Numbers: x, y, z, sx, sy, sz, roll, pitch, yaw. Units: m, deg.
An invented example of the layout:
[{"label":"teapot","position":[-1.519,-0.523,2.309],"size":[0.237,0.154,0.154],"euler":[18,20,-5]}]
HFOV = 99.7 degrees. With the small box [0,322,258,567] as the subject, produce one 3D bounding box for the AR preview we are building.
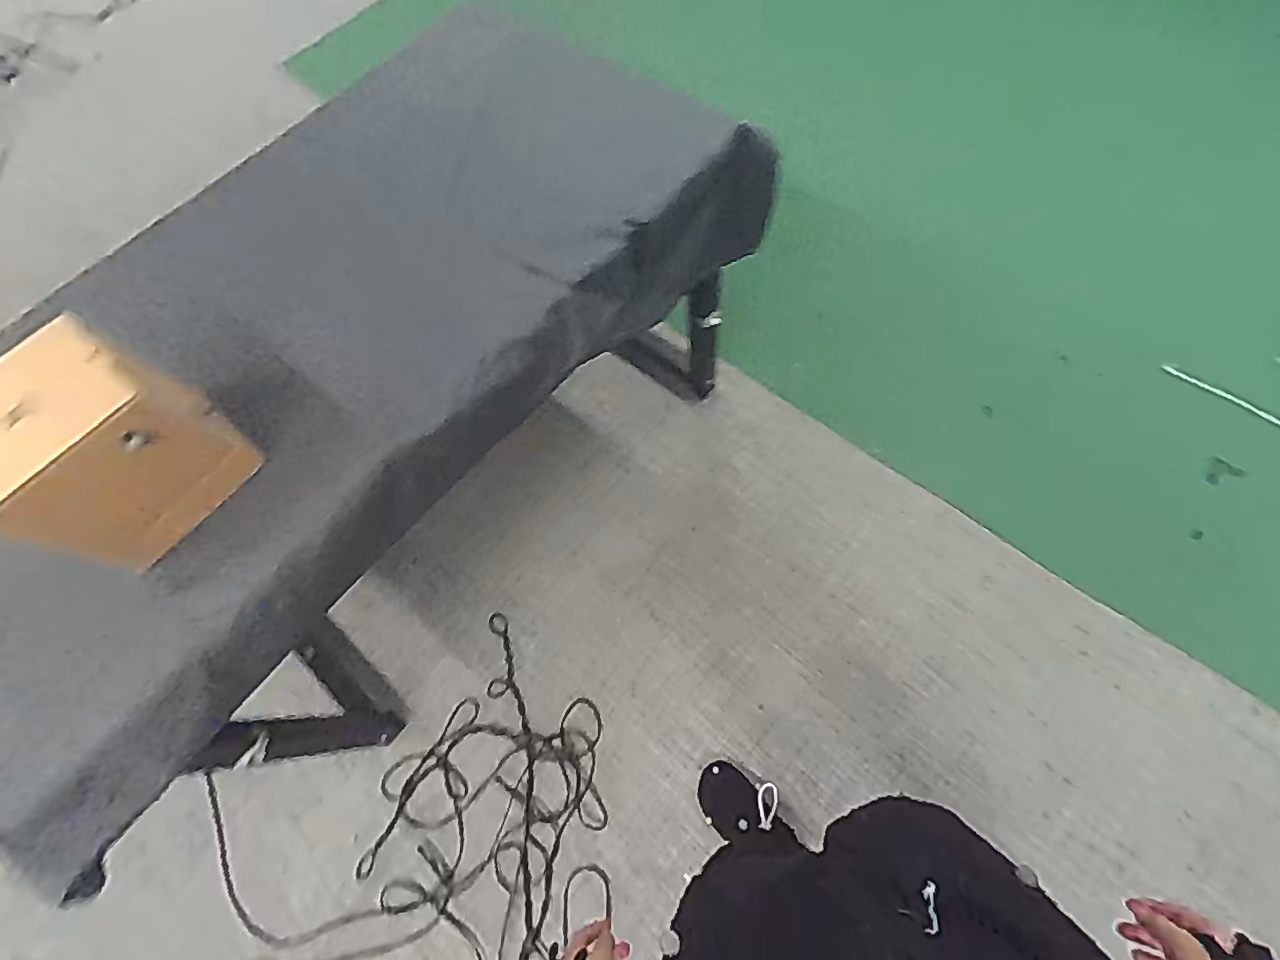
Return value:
[{"label":"small box","position":[-0.585,-0.029,0.596],"size":[0.168,0.176,0.179],"euler":[36,75,19]}]
